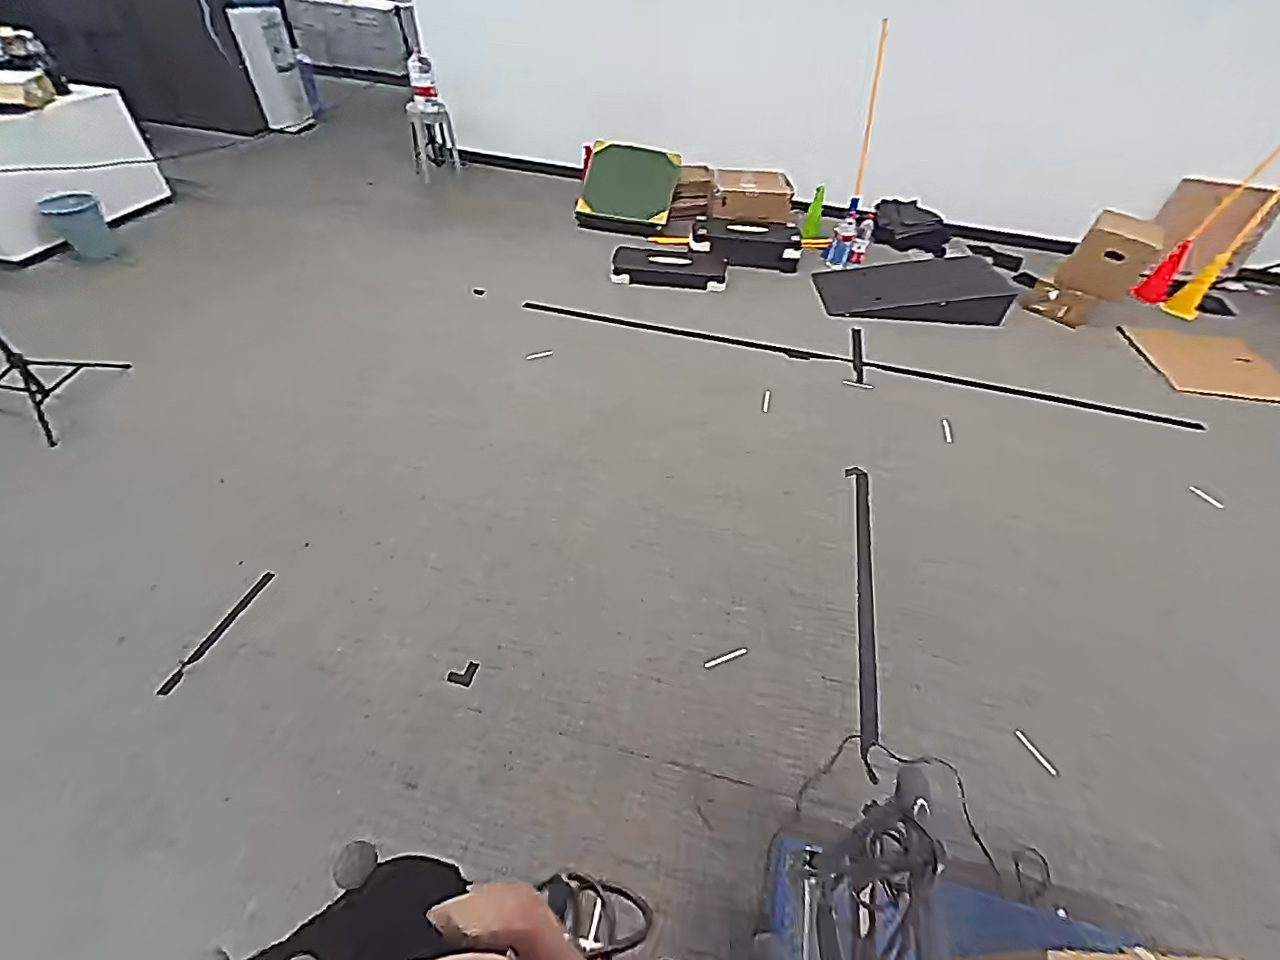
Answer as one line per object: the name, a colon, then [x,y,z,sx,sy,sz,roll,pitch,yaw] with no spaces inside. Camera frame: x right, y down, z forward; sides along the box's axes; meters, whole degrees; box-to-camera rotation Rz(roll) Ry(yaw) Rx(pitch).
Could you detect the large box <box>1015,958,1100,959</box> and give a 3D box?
large box: [0.731,0.961,0.778,0.320,0.320,0.408,4,47,-1]
